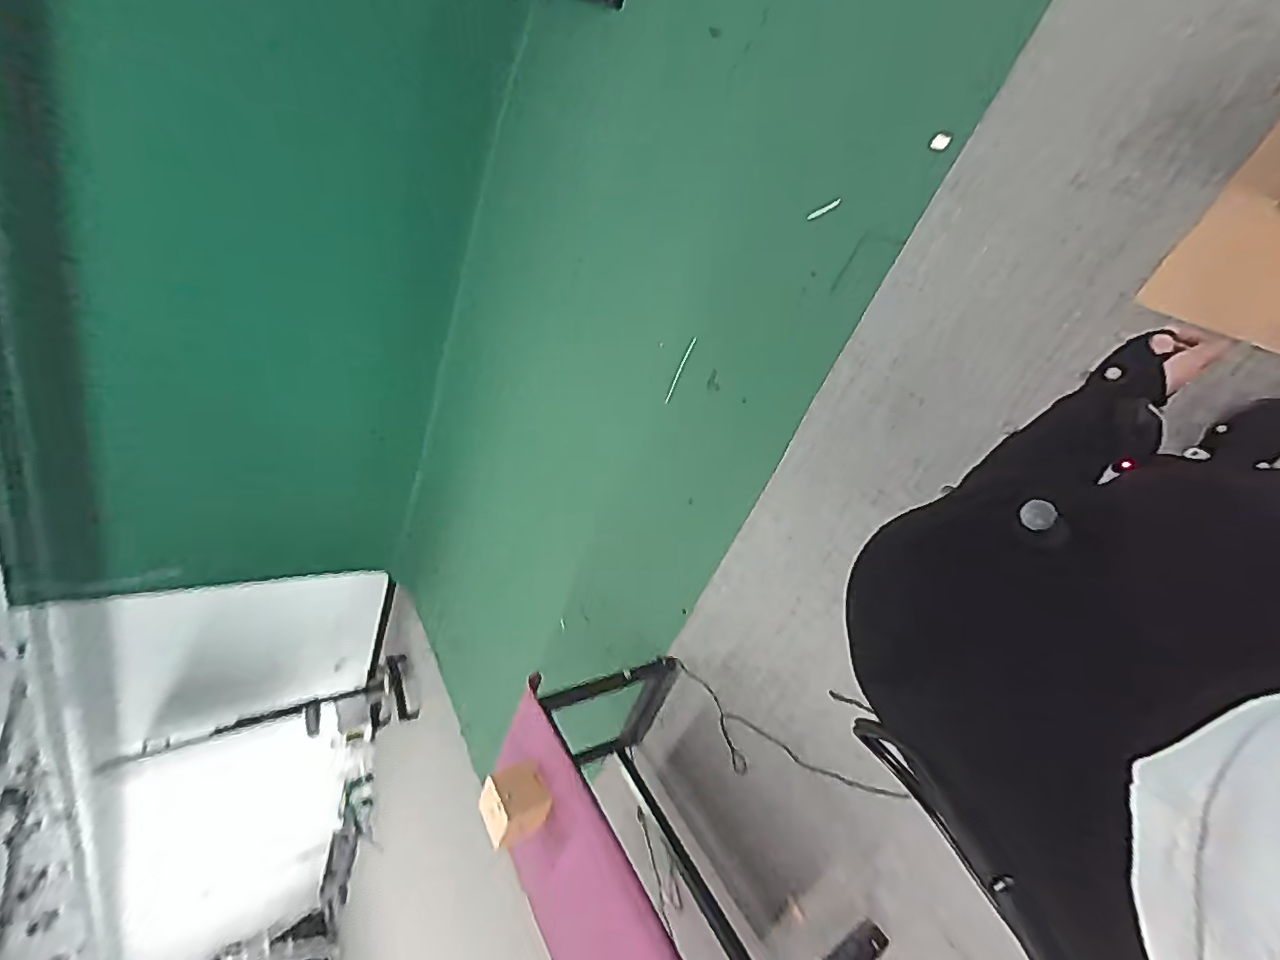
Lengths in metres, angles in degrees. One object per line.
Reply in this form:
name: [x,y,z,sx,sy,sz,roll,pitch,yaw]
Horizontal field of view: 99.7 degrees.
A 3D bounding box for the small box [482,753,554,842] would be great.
small box: [-0.414,1.073,1.836,0.168,0.176,0.179,44,124,38]
